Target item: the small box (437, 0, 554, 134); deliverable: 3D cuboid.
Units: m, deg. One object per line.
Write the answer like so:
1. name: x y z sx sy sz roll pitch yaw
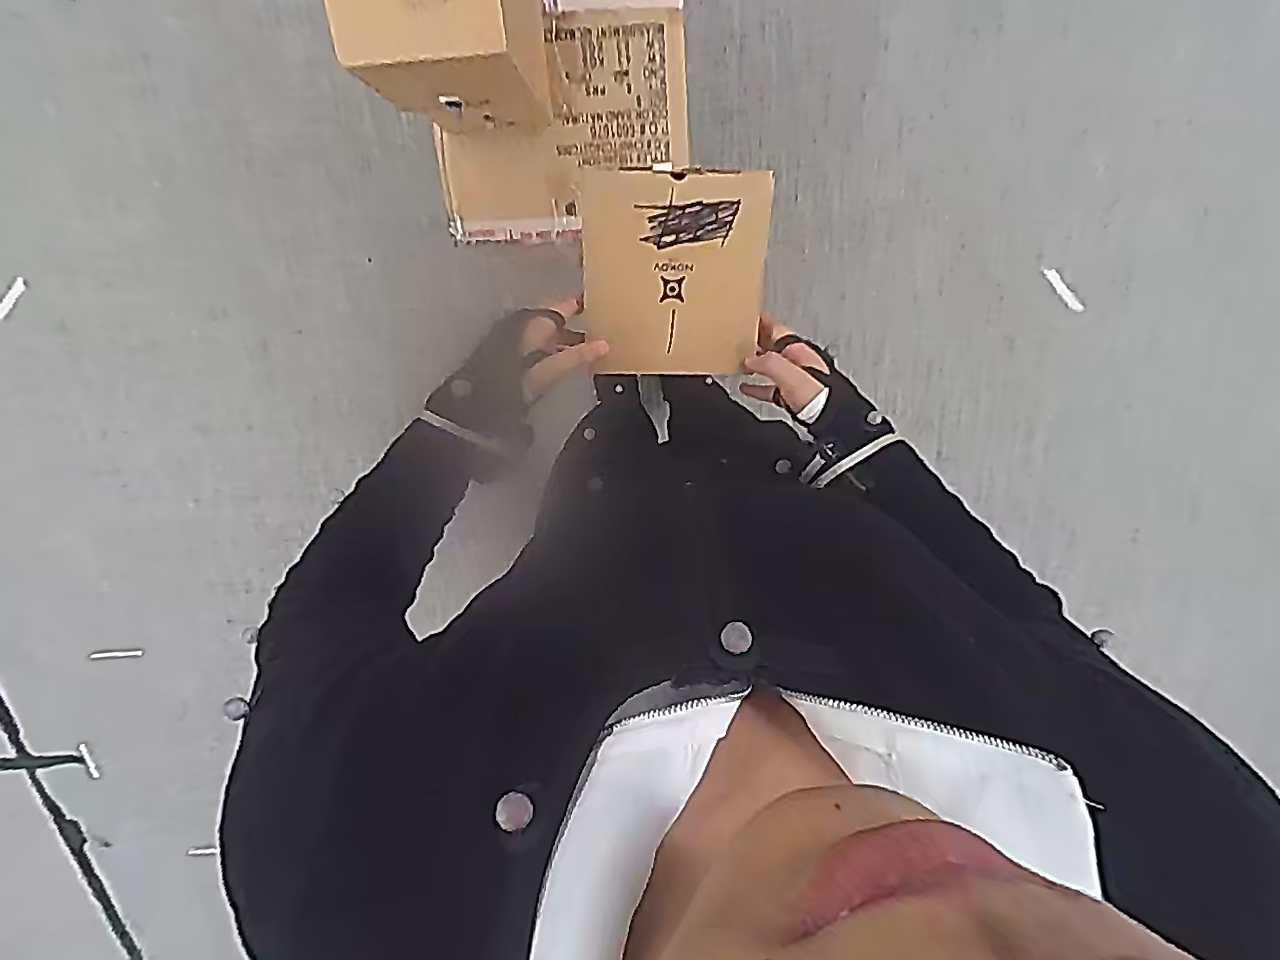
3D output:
1. small box: -0.213 -0.580 0.707 0.168 0.176 0.179 -4 110 2

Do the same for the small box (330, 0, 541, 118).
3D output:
1. small box: -0.206 -0.506 0.561 0.168 0.176 0.179 -4 111 2

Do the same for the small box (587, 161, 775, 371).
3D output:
1. small box: 0.029 -0.219 0.563 0.168 0.176 0.179 0 115 -3
